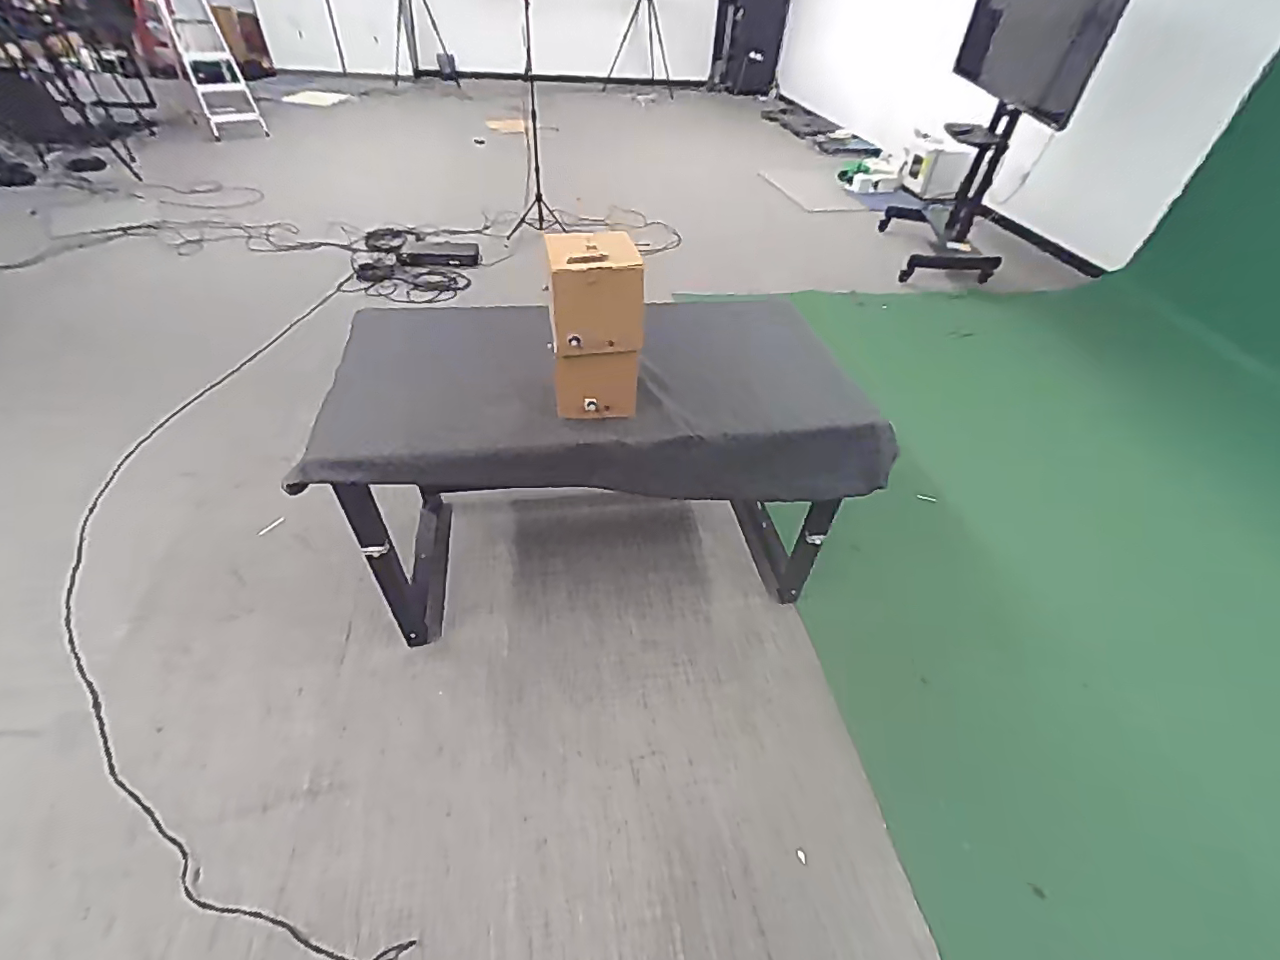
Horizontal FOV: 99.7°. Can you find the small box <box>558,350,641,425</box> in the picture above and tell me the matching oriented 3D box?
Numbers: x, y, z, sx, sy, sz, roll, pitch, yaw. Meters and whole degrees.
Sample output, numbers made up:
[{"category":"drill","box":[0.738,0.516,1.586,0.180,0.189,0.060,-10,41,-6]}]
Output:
[{"category":"small box","box":[-0.092,-0.239,1.174,0.168,0.176,0.179,-5,45,-7]}]

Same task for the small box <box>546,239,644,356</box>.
[{"category":"small box","box":[-0.088,-0.352,1.054,0.168,0.176,0.179,-7,42,-10]}]
